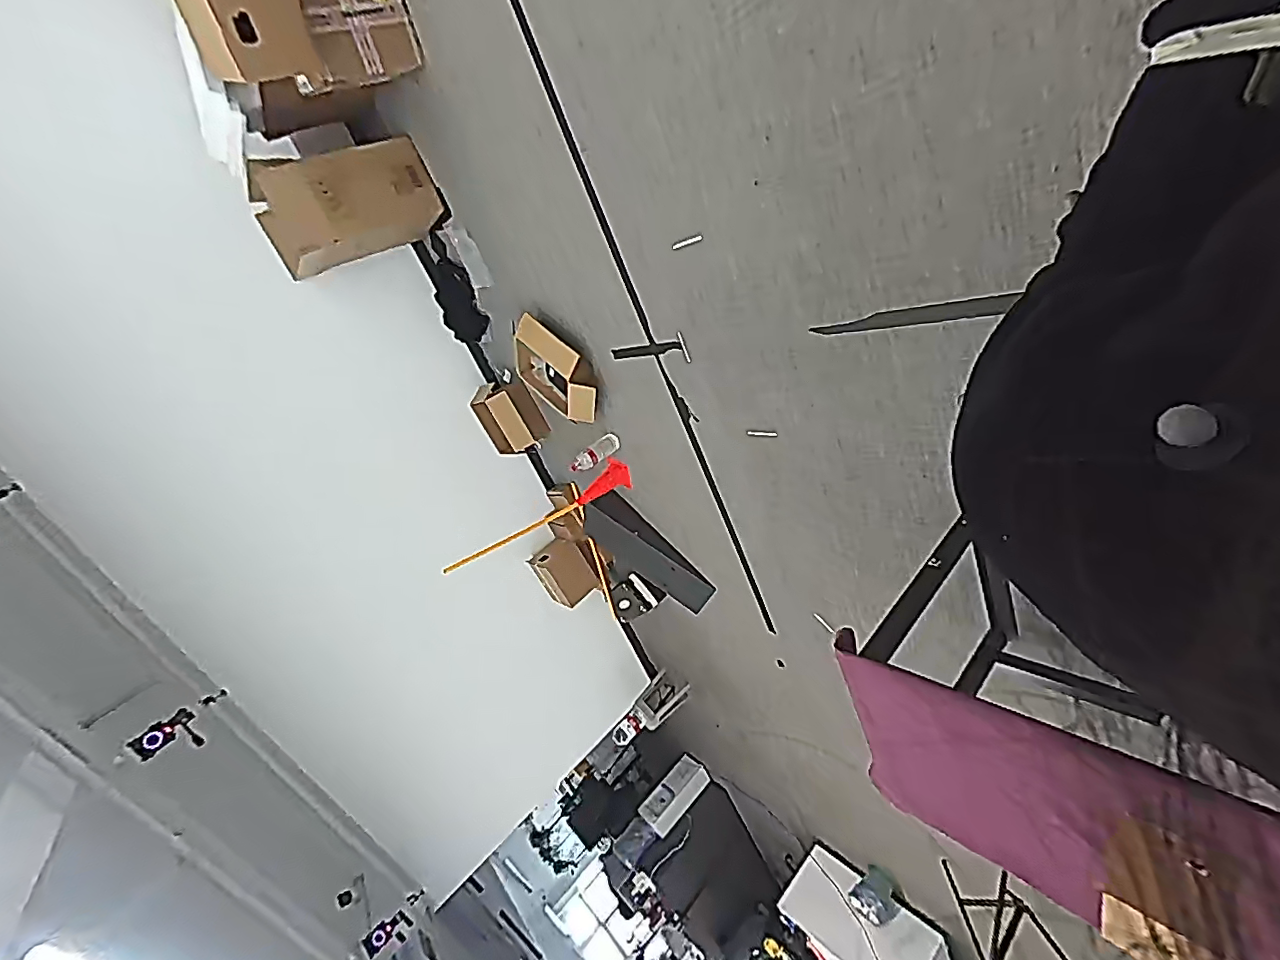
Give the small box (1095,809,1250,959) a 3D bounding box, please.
[{"bbox_3d":[0.913,0.724,0.932,0.168,0.176,0.179,11,132,50],"label":"small box"}]
